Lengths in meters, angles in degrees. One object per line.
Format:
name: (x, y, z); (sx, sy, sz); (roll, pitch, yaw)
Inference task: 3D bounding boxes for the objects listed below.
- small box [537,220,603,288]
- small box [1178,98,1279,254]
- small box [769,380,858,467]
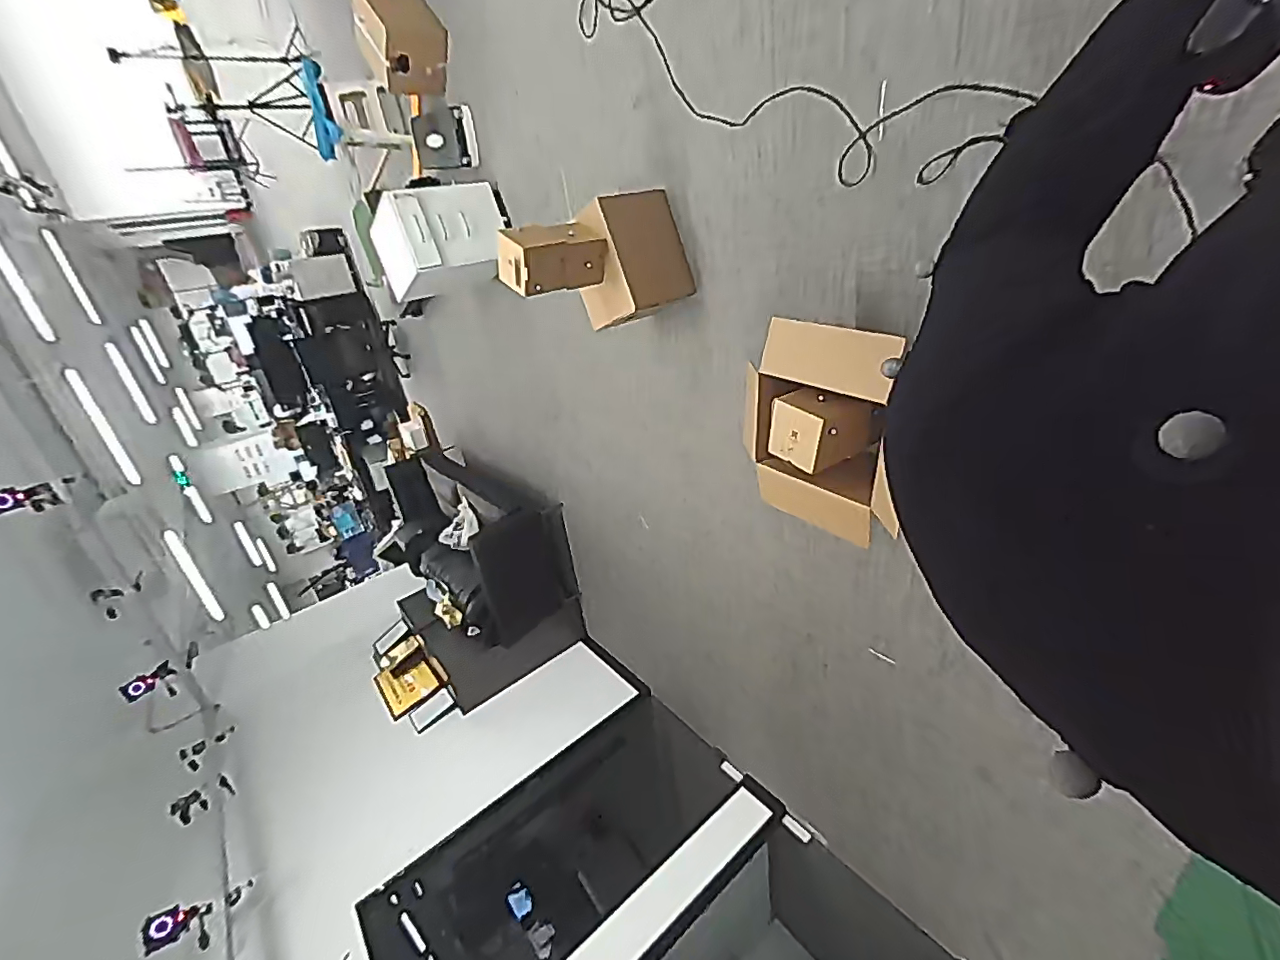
small box: (-0.250, -0.818, 1.944); (0.179, 0.176, 0.168); (40, 141, 30)
small box: (1.035, -0.475, 0.841); (0.176, 0.168, 0.179); (31, 118, 1)
small box: (0.497, -0.169, 1.547); (0.168, 0.176, 0.179); (36, 140, 42)
